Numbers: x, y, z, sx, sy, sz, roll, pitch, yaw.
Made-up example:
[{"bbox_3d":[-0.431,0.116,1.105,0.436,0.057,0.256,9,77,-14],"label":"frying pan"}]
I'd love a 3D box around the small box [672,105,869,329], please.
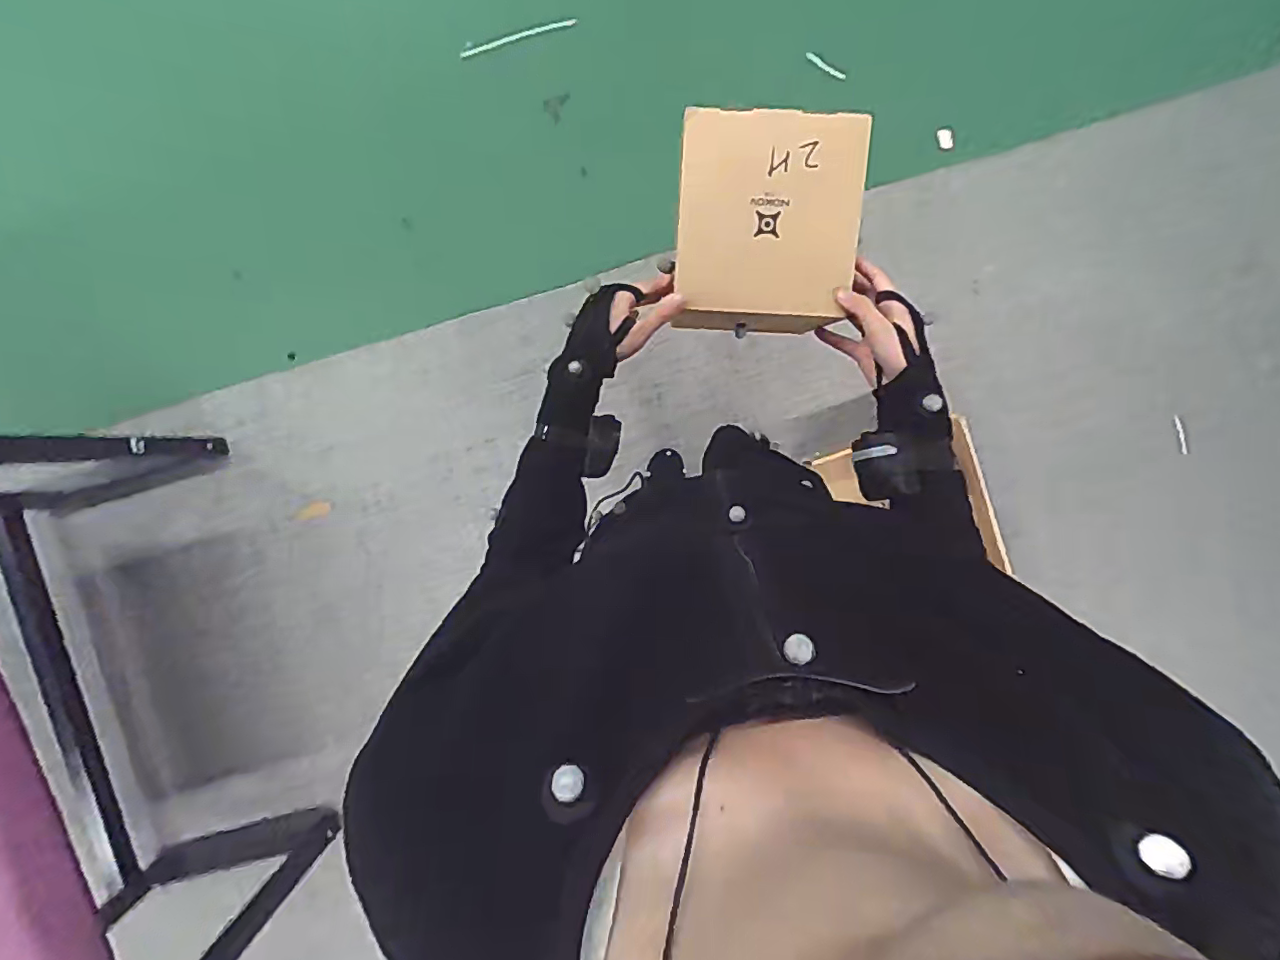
[{"bbox_3d":[0.121,-0.259,0.572,0.168,0.176,0.179,3,99,3],"label":"small box"}]

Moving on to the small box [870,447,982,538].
[{"bbox_3d":[0.707,0.025,1.357,0.168,0.176,0.179,-21,94,5],"label":"small box"}]
